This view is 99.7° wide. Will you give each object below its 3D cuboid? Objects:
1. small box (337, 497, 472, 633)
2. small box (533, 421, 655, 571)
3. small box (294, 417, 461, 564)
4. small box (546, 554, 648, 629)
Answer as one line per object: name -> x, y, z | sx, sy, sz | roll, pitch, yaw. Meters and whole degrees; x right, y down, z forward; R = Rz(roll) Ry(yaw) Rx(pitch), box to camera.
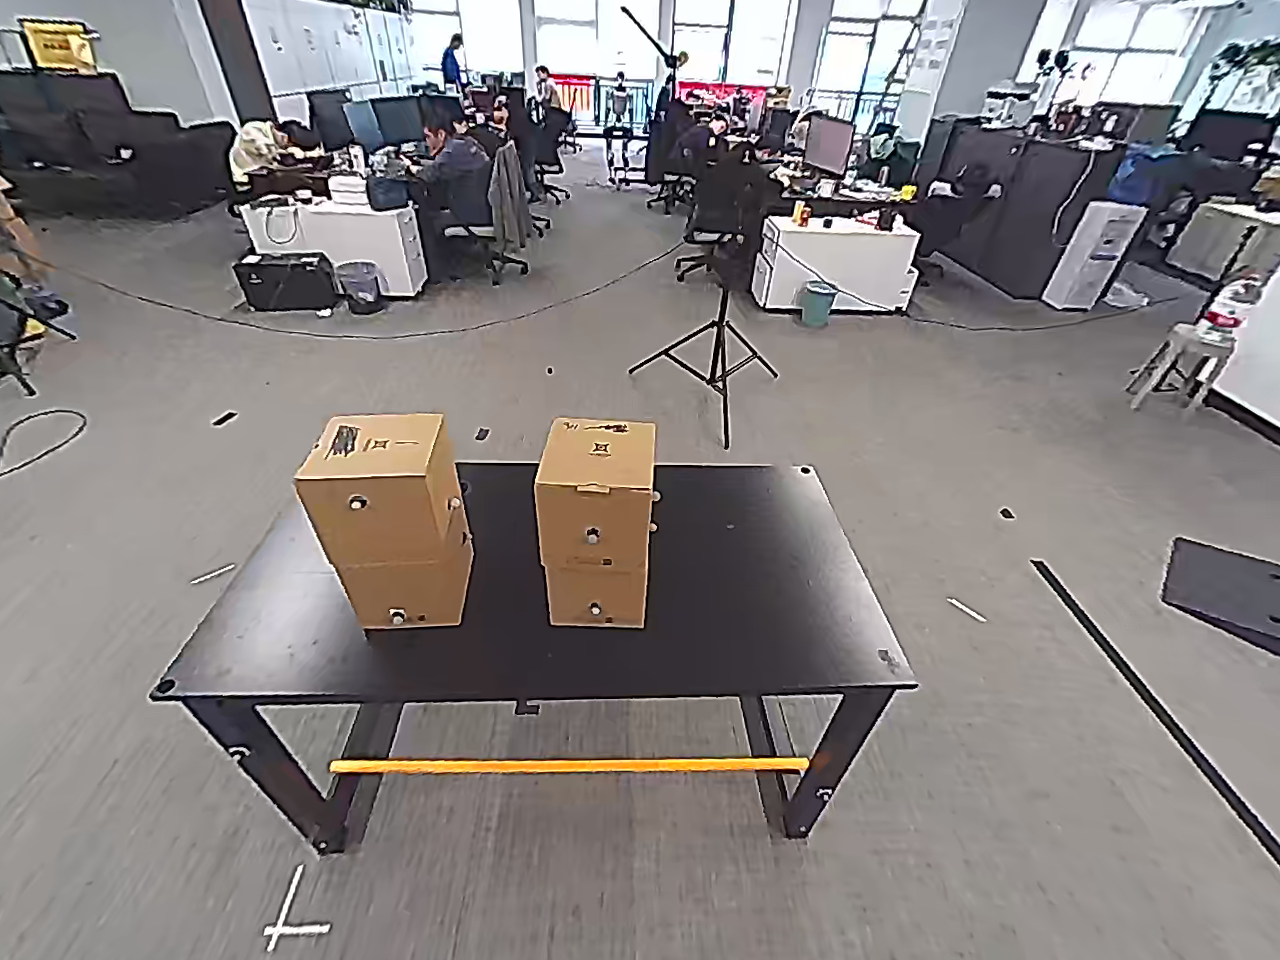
small box -> -0.398, 0.144, 0.952 | 0.168, 0.176, 0.179 | -3, 39, -6
small box -> -0.064, 0.026, 0.856 | 0.168, 0.176, 0.179 | 4, 39, 1
small box -> -0.393, 0.016, 0.847 | 0.179, 0.176, 0.168 | -2, 38, -7
small box -> -0.072, 0.143, 0.972 | 0.168, 0.176, 0.179 | 2, 38, -1
